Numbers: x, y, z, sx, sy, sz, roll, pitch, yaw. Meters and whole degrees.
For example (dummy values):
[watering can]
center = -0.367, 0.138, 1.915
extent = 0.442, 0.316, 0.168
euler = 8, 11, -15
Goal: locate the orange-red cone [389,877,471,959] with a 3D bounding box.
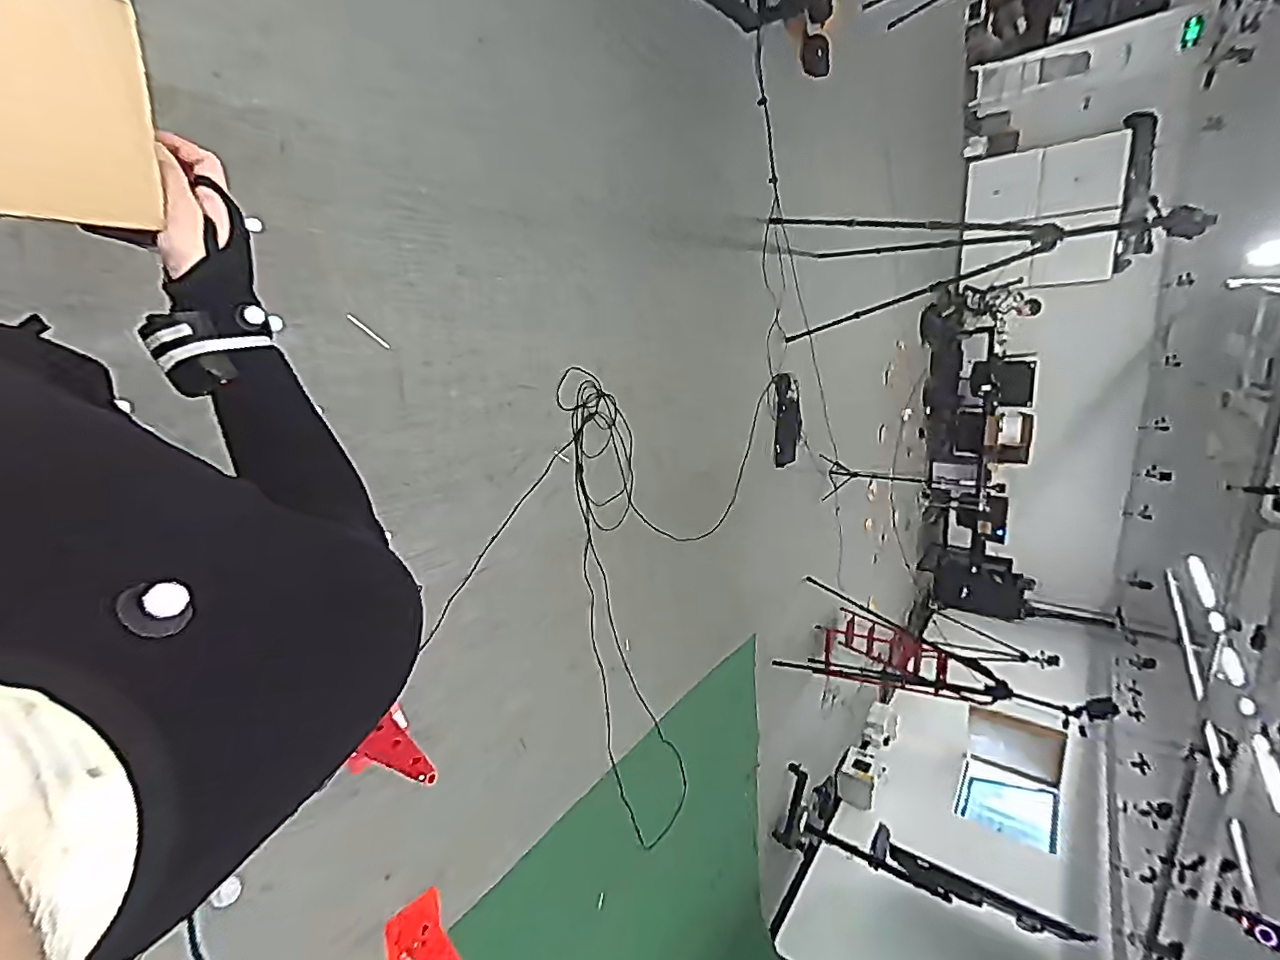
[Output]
[orange-red cone]
center = -0.680, 1.599, 1.862
extent = 0.199, 0.360, 0.198
euler = -12, 107, -52
